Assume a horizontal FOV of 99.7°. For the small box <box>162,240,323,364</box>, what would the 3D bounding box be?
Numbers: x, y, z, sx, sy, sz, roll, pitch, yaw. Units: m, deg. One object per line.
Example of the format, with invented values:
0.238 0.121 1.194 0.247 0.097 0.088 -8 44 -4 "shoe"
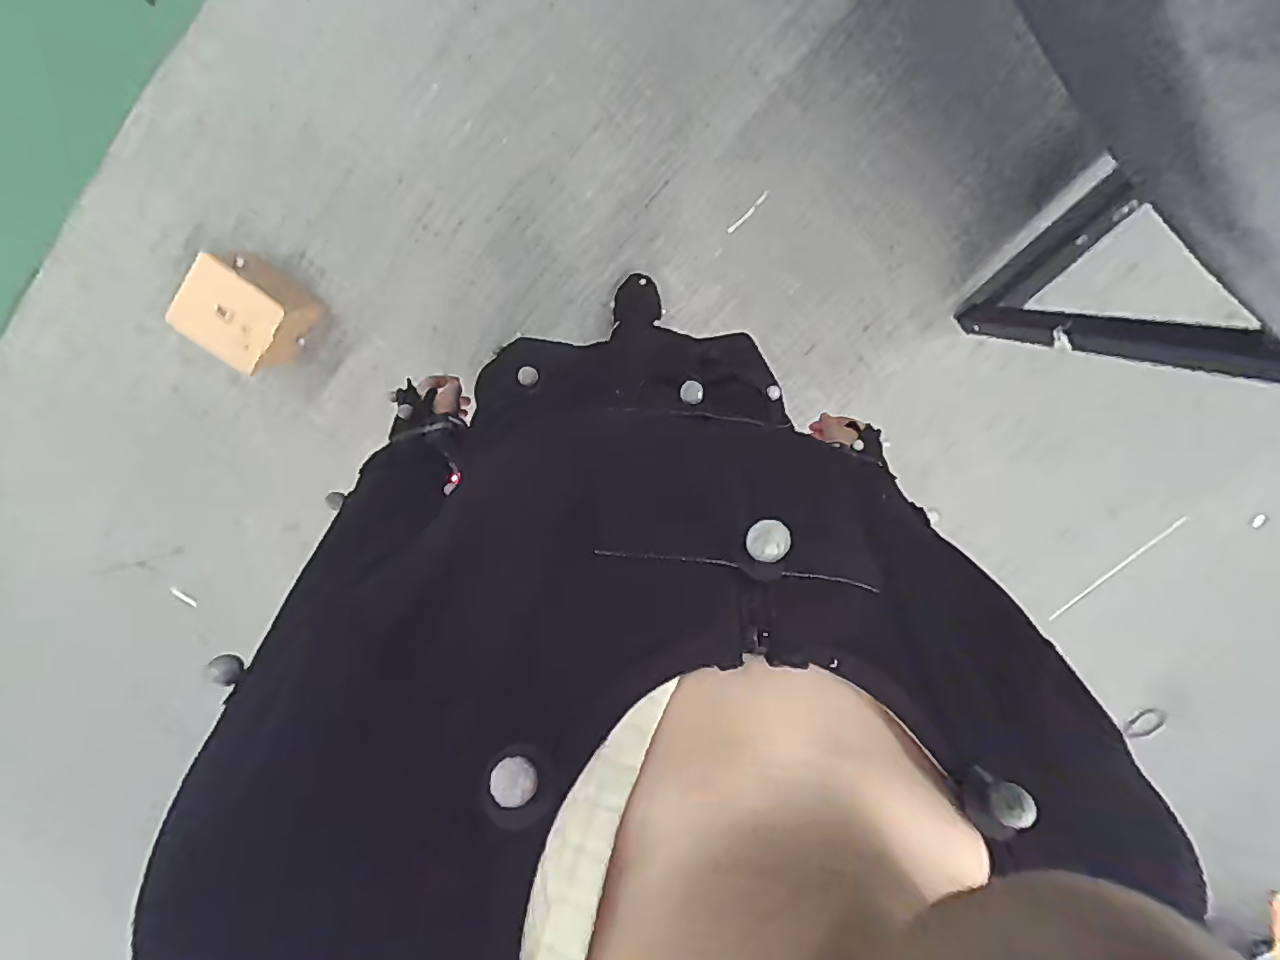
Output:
-0.809 -0.366 1.118 0.179 0.176 0.168 37 105 -17 "small box"
